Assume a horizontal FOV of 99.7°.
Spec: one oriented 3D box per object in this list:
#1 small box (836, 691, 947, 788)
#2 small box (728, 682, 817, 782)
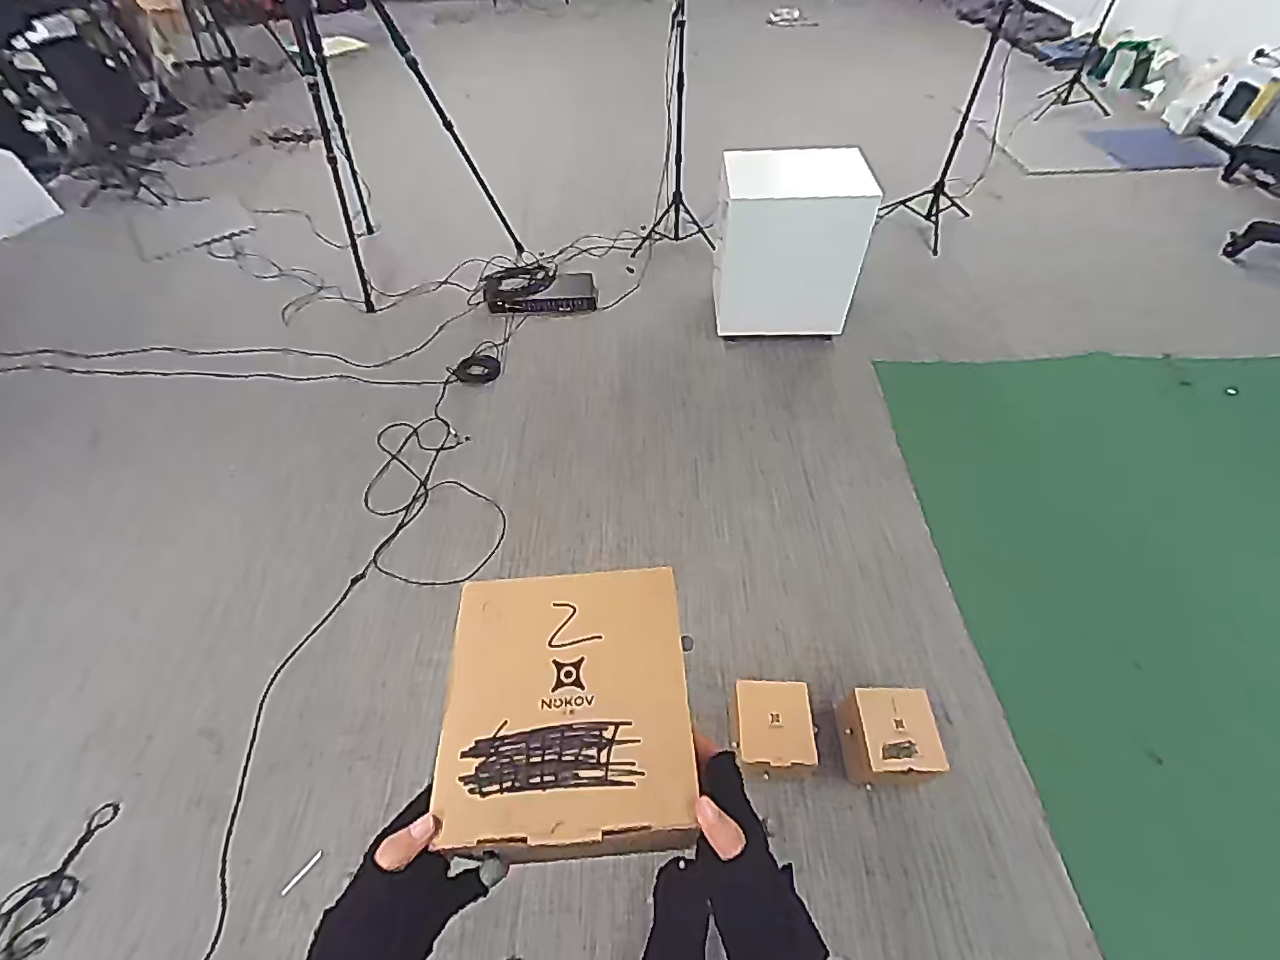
[{"bbox_3d":[0.569,0.603,1.251,0.168,0.176,0.179,0,51,2],"label":"small box"},{"bbox_3d":[0.301,0.592,1.267,0.168,0.176,0.179,1,52,2],"label":"small box"}]
